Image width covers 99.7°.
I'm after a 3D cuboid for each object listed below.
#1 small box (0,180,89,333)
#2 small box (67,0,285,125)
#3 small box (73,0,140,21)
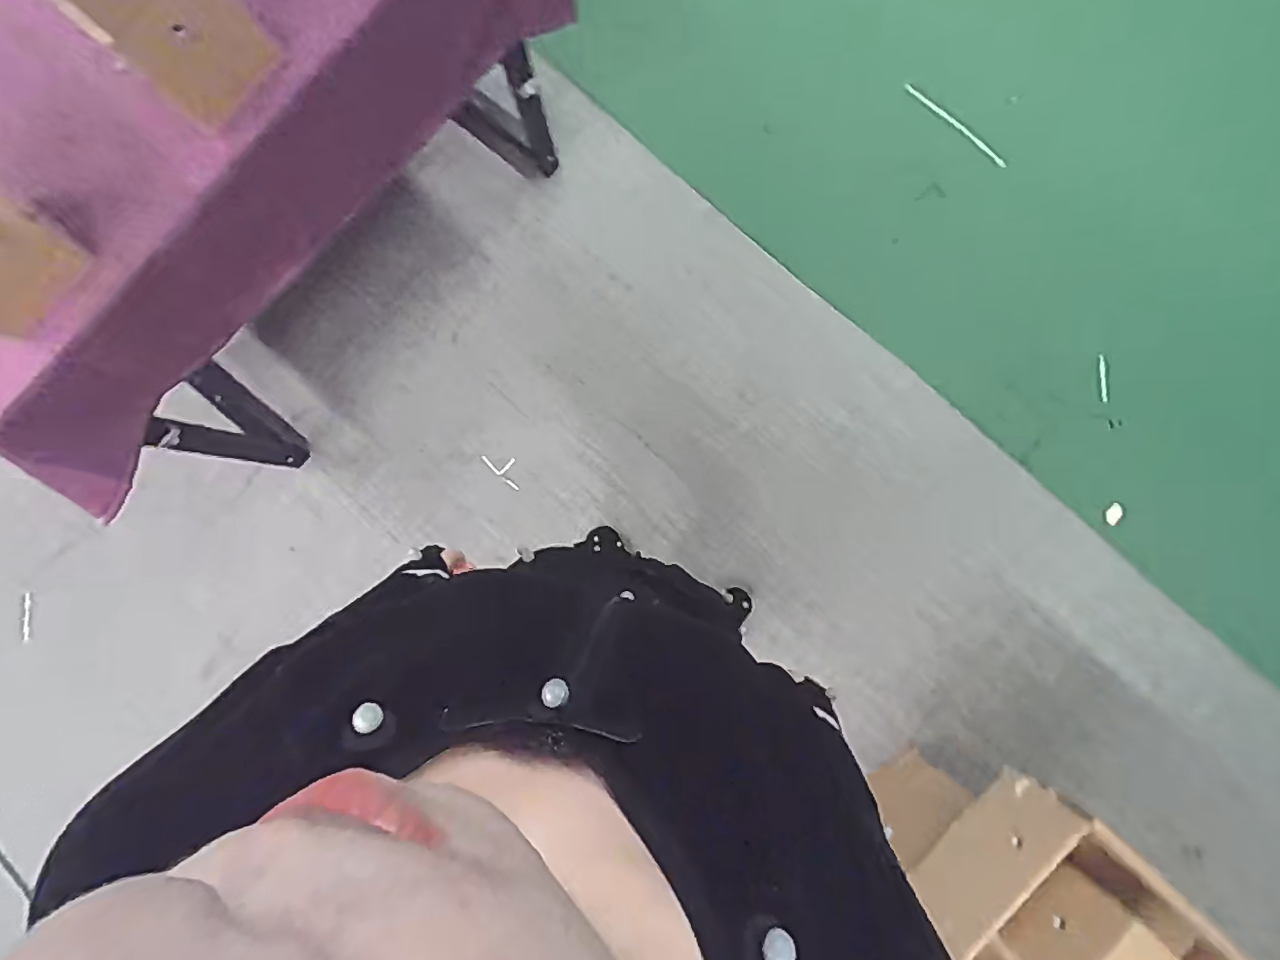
[{"bbox_3d":[-0.962,-0.341,0.761,0.168,0.176,0.179,40,86,4],"label":"small box"},{"bbox_3d":[-0.671,-0.671,0.780,0.168,0.176,0.179,42,87,4],"label":"small box"},{"bbox_3d":[-0.679,-0.689,0.618,0.179,0.176,0.168,40,87,5],"label":"small box"}]
